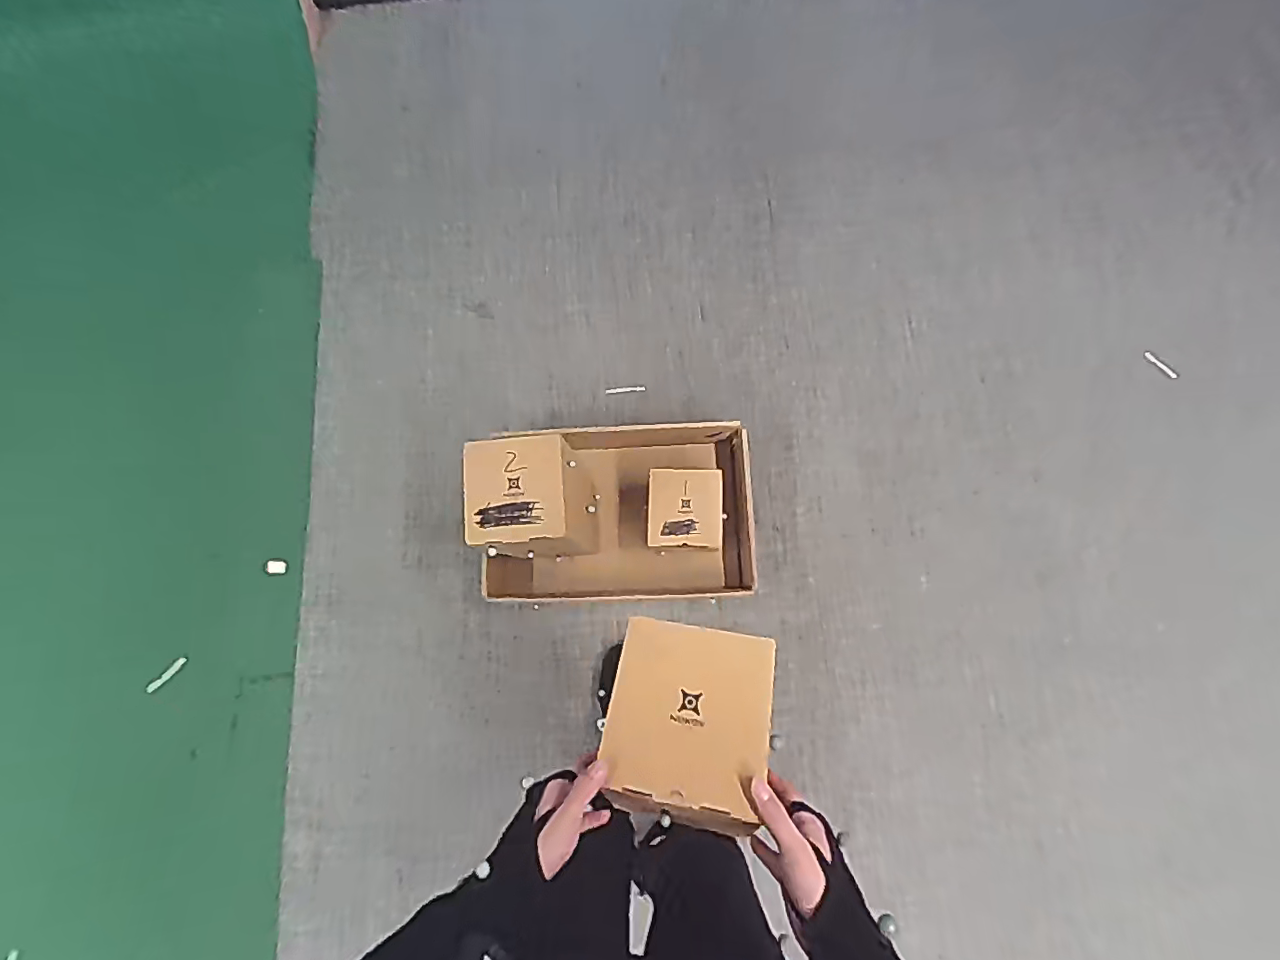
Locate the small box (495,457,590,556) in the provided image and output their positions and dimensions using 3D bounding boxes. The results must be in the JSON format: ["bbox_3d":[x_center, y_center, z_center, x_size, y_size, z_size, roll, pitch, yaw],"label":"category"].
[{"bbox_3d":[-0.198,0.061,1.123,0.168,0.176,0.179,-4,78,2],"label":"small box"}]

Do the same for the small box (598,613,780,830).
[{"bbox_3d":[0.060,0.279,0.620,0.168,0.176,0.179,8,56,10],"label":"small box"}]
